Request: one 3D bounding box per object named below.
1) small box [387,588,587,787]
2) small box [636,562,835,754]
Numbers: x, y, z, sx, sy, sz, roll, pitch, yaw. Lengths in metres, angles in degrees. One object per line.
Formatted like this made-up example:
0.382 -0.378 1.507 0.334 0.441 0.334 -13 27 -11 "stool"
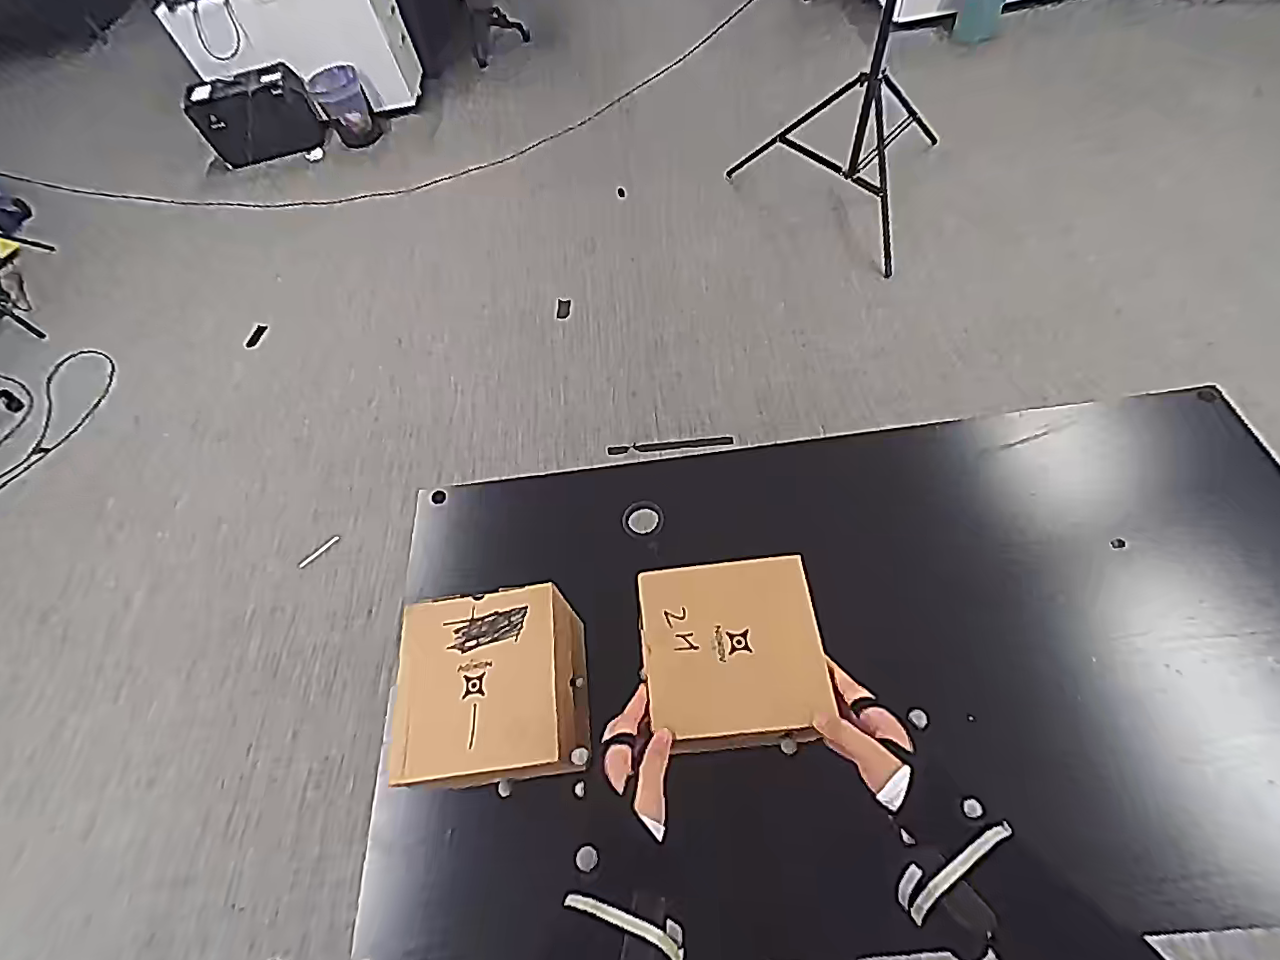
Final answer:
-0.159 0.242 0.617 0.168 0.176 0.179 -9 60 2 "small box"
0.095 0.205 0.604 0.179 0.176 0.168 -7 59 4 "small box"
